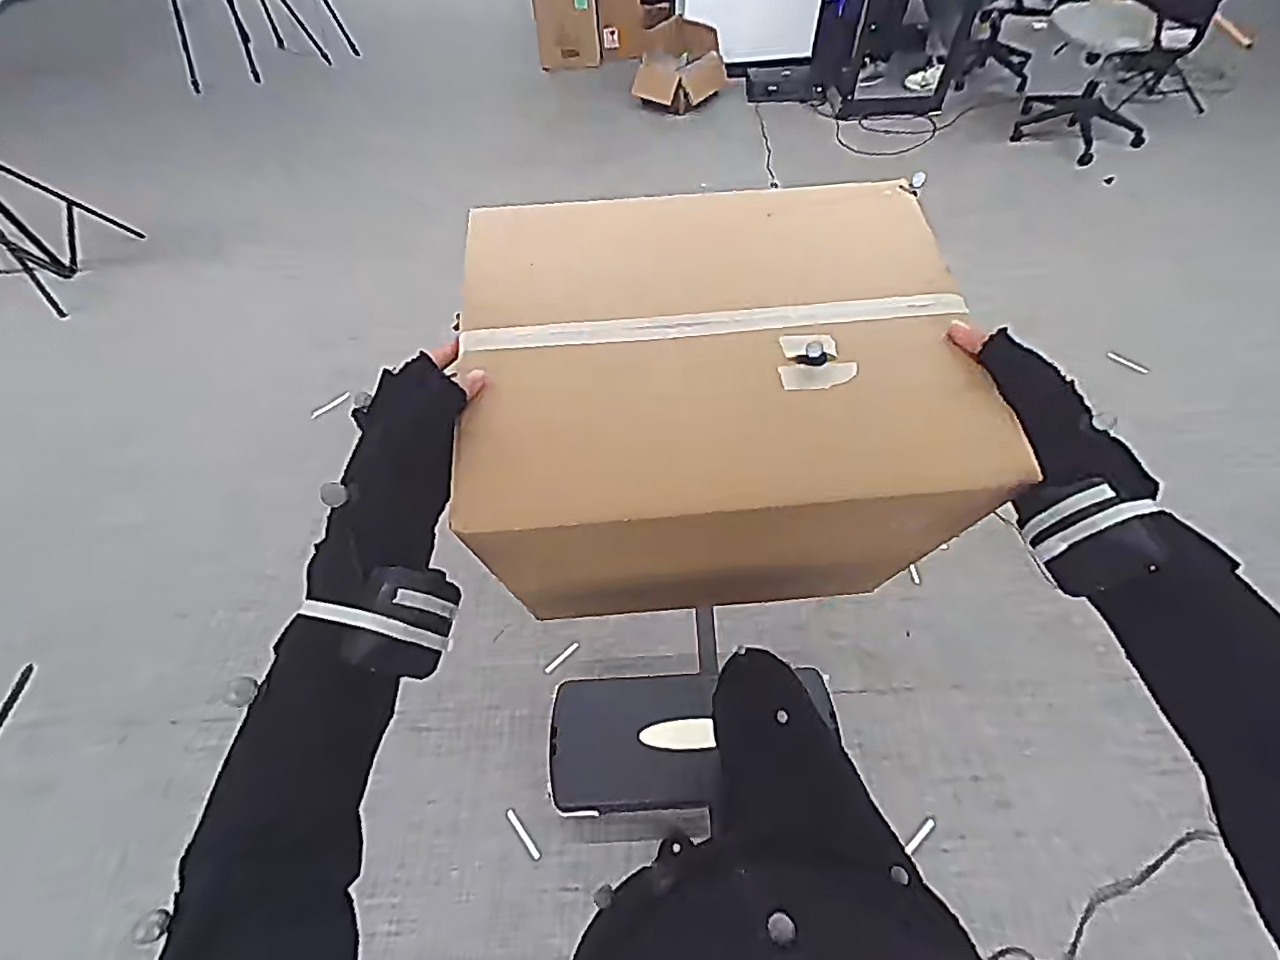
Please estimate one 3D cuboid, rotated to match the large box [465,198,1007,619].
[{"bbox_3d":[0.057,-0.052,0.583,0.408,0.320,0.320,-5,65,-2],"label":"large box"}]
